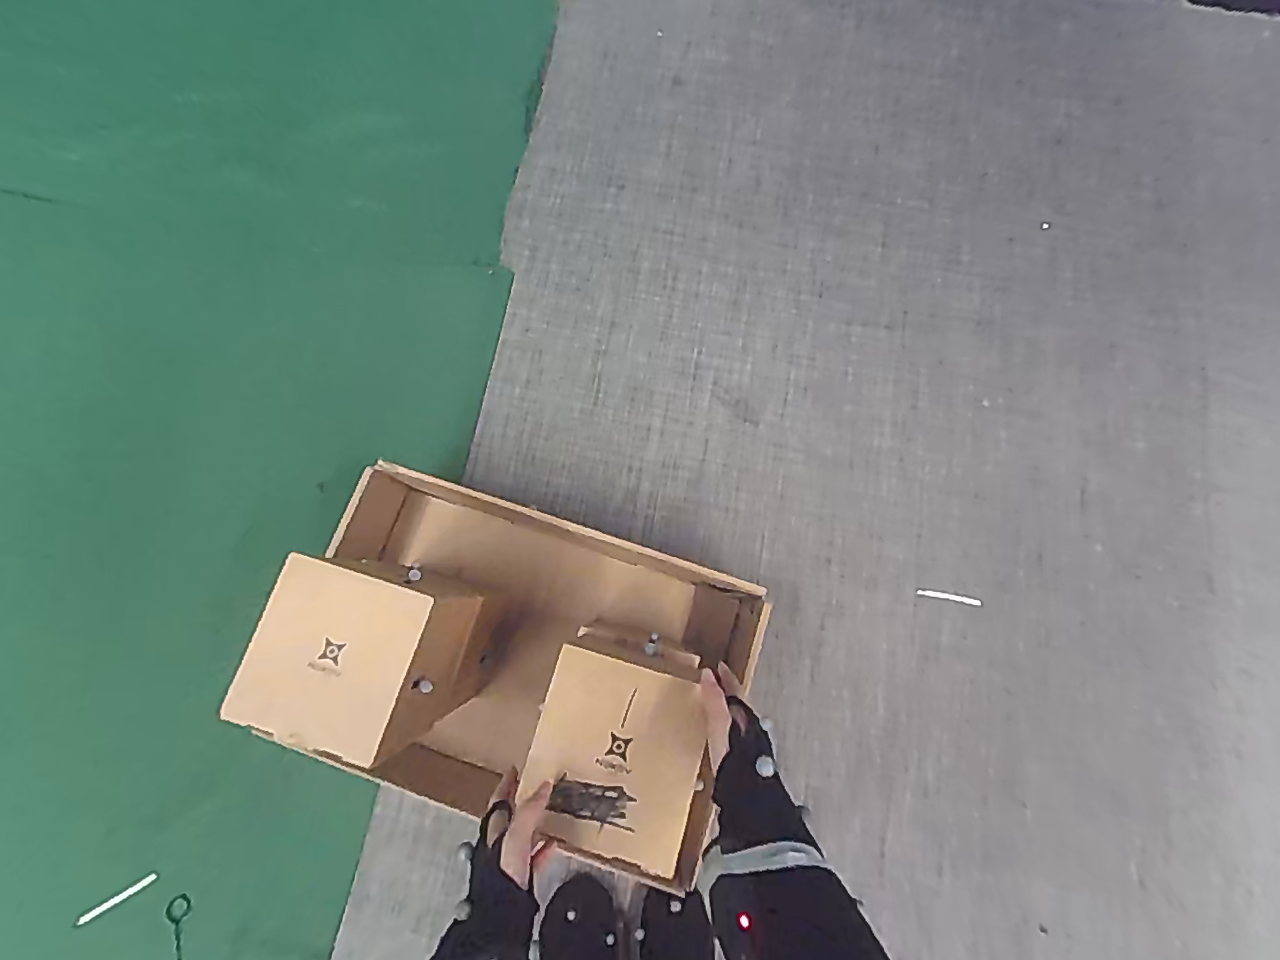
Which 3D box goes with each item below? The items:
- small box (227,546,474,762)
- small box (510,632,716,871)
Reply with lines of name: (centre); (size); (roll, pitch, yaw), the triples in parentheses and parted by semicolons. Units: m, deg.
small box: (-0.313, 0.189, 0.631); (0.168, 0.176, 0.179); (18, 80, 3)
small box: (-0.023, 0.283, 0.609); (0.168, 0.176, 0.179); (17, 77, 4)
